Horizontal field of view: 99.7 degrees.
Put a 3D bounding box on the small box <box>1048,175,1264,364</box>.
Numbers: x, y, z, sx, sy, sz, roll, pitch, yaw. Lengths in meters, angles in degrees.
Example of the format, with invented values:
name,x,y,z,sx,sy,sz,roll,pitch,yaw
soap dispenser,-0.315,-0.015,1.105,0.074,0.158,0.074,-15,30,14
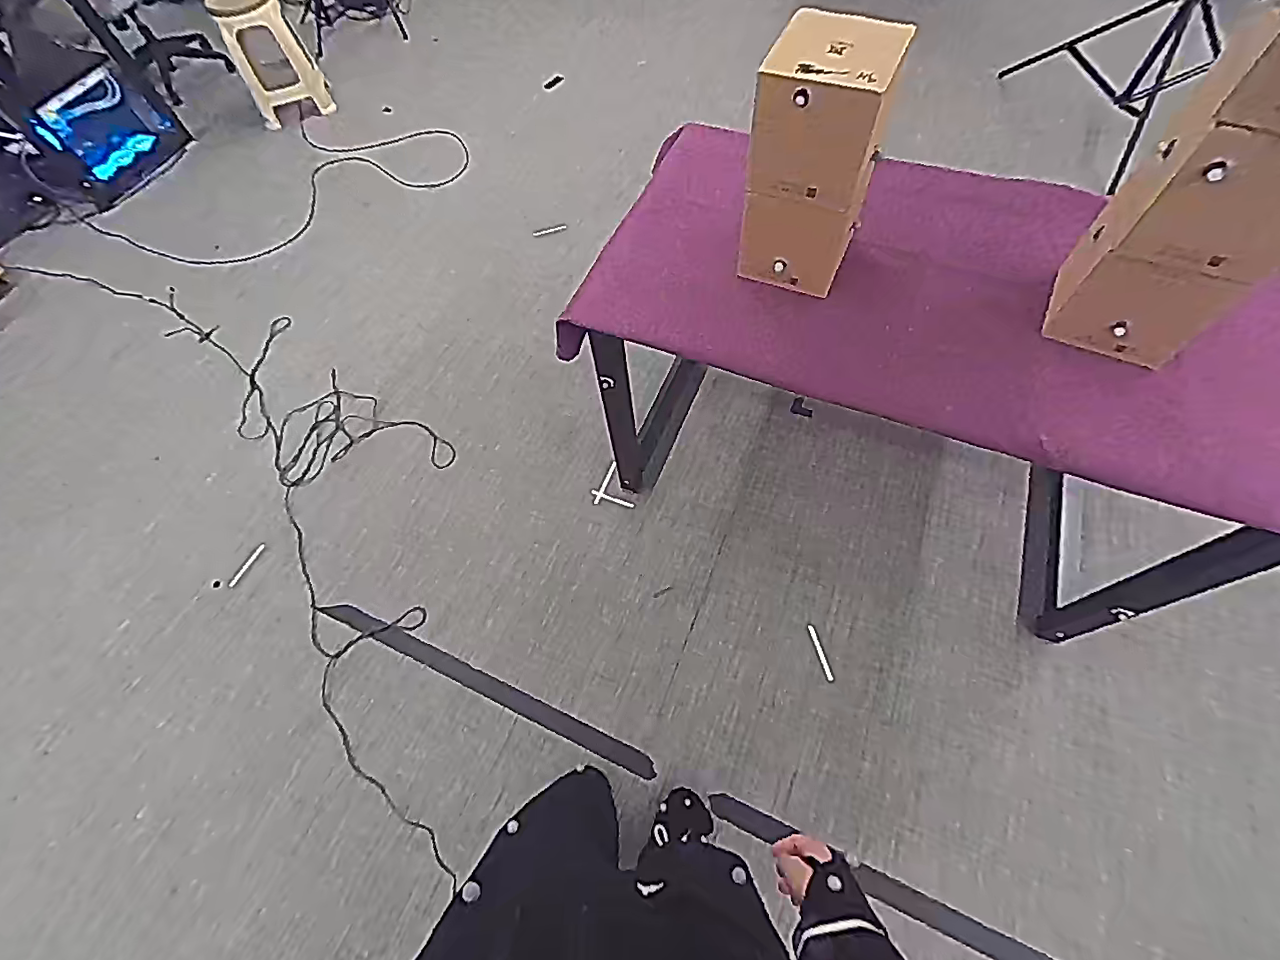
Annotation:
name,x,y,z,sx,sy,sz,roll,pitch,yaw
small box,0.755,-0.310,0.807,0.168,0.176,0.179,24,66,17

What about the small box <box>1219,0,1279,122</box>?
name,x,y,z,sx,sy,sz,roll,pitch,yaw
small box,0.724,-0.461,0.519,0.168,0.176,0.179,27,66,16

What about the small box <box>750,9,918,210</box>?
name,x,y,z,sx,sy,sz,roll,pitch,yaw
small box,0.268,-0.529,0.779,0.168,0.176,0.179,22,65,16

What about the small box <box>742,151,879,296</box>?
name,x,y,z,sx,sy,sz,roll,pitch,yaw
small box,0.281,-0.451,0.923,0.168,0.176,0.179,21,66,15
